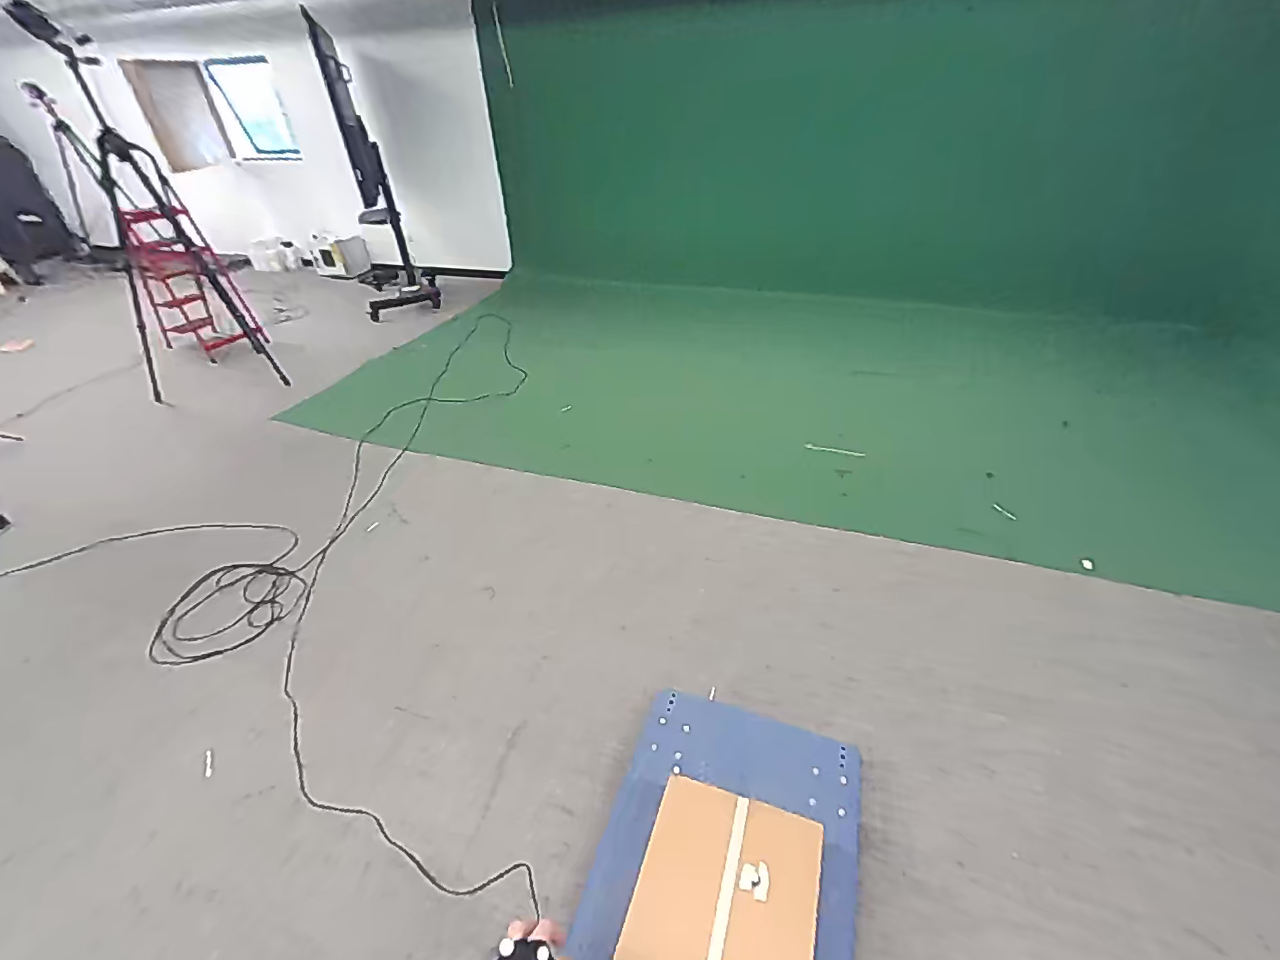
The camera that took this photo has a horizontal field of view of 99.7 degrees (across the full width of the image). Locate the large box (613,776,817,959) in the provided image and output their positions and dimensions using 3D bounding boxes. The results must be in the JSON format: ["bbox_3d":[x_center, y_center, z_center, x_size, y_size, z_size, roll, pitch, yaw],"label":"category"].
[{"bbox_3d":[0.145,0.883,1.038,0.320,0.320,0.408,11,37,17],"label":"large box"}]
